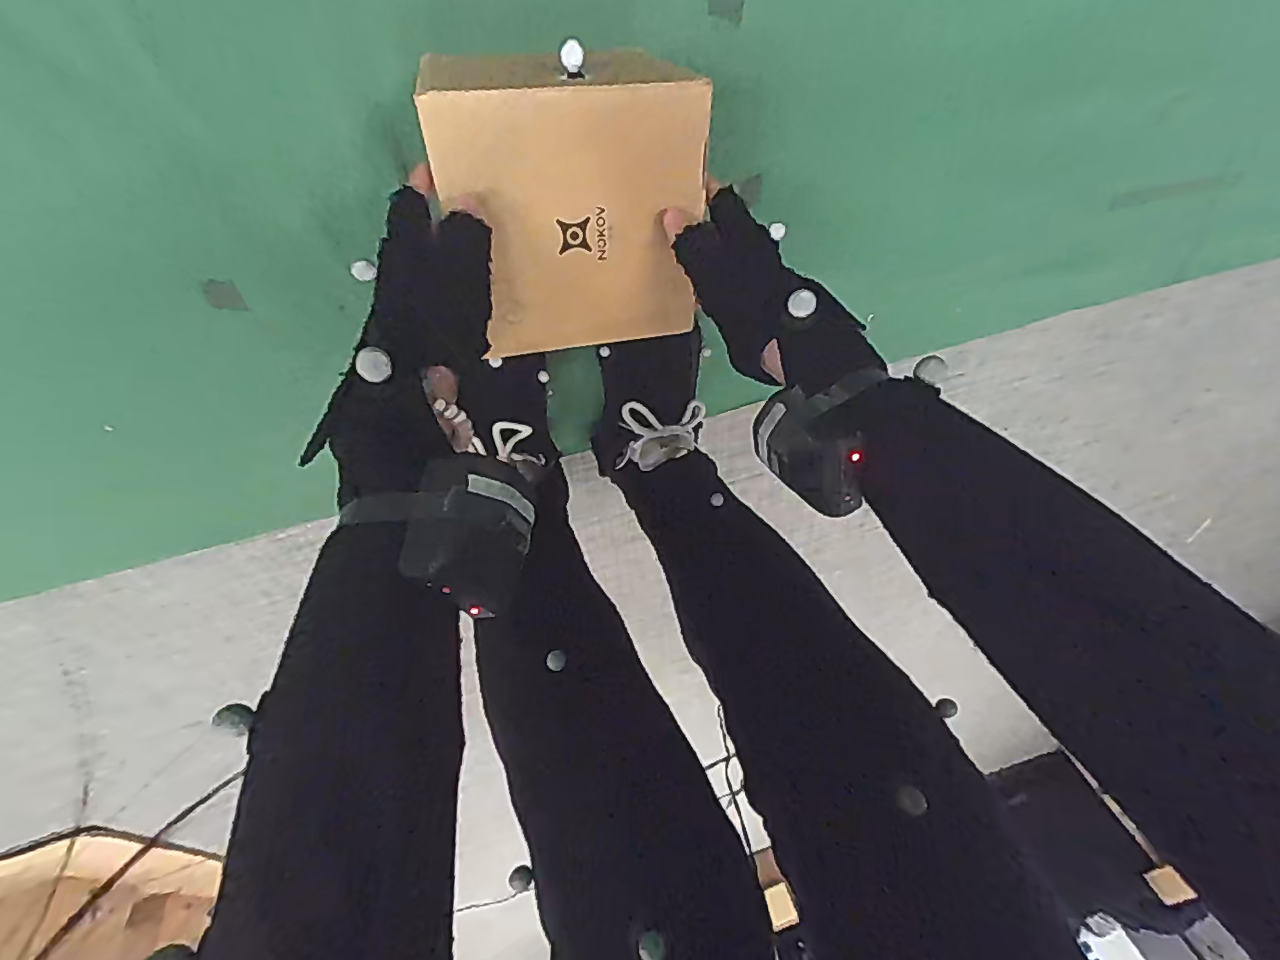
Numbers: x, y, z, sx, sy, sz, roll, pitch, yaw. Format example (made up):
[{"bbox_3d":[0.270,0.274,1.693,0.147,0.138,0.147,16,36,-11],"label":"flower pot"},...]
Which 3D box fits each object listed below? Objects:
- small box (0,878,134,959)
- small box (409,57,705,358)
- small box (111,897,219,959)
[{"bbox_3d":[-1.150,0.906,1.044,0.179,0.176,0.168,-18,137,-5],"label":"small box"},{"bbox_3d":[-0.065,-0.217,0.422,0.179,0.176,0.168,-11,134,-12],"label":"small box"},{"bbox_3d":[-1.099,1.075,1.221,0.179,0.176,0.168,-21,136,-1],"label":"small box"}]
